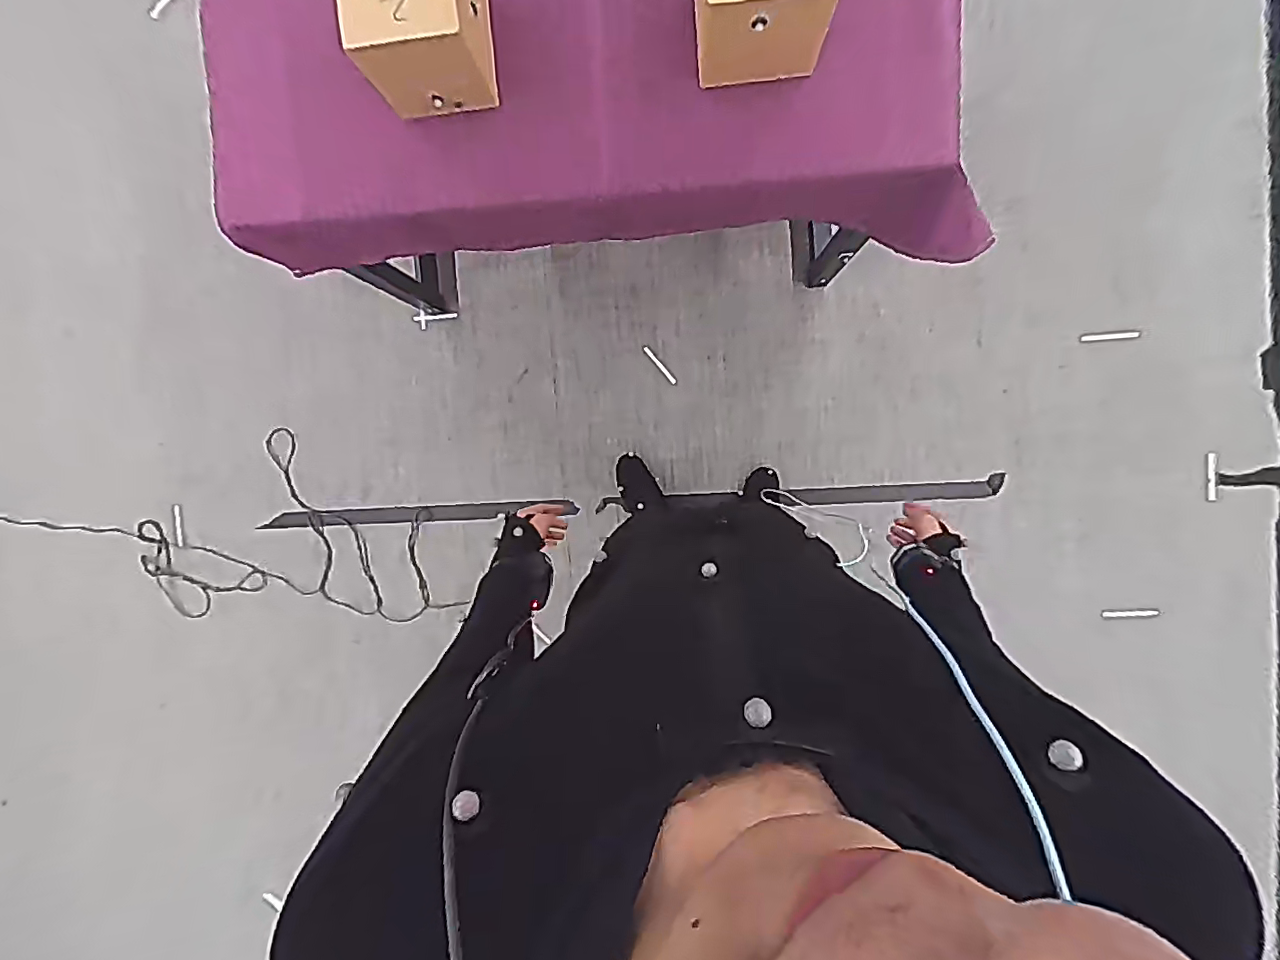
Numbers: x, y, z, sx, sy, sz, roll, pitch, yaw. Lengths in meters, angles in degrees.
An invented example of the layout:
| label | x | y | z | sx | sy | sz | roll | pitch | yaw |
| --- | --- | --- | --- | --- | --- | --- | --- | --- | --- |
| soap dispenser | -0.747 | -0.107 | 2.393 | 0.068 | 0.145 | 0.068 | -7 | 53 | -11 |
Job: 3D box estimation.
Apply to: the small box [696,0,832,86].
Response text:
| label | x | y | z | sx | sy | sz | roll | pitch | yaw |
| --- | --- | --- | --- | --- | --- | --- | --- | --- | --- |
| small box | 0.170 | -0.699 | 0.767 | 0.179 | 0.176 | 0.168 | -4 | 93 | 4 |
